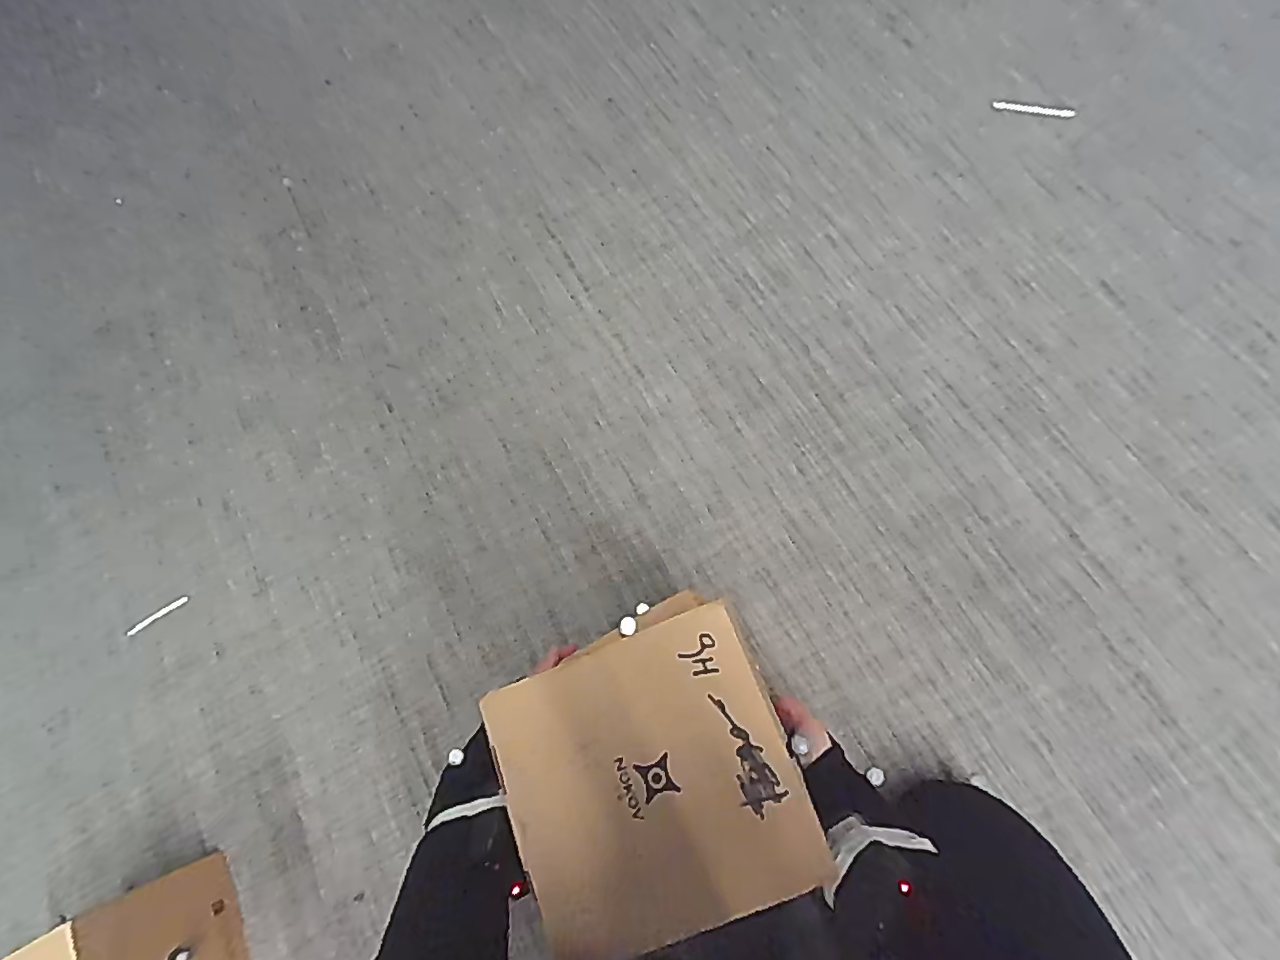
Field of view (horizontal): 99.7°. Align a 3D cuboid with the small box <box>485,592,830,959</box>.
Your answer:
[{"bbox_3d":[0.018,0.196,0.408,0.179,0.176,0.168,-25,74,5],"label":"small box"}]

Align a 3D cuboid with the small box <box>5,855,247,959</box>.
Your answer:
[{"bbox_3d":[-0.587,0.571,0.609,0.179,0.176,0.168,-31,72,3],"label":"small box"}]
